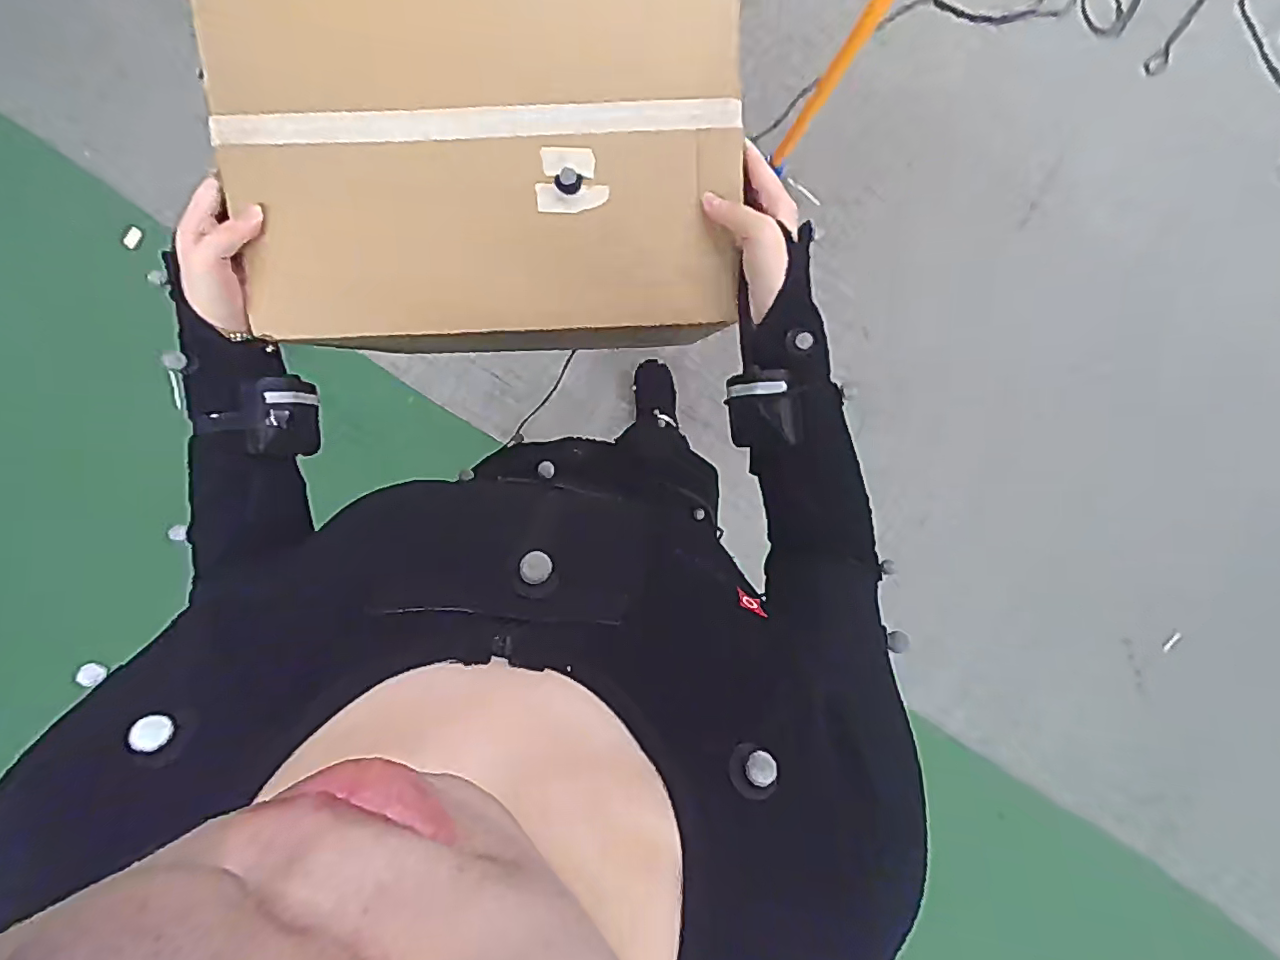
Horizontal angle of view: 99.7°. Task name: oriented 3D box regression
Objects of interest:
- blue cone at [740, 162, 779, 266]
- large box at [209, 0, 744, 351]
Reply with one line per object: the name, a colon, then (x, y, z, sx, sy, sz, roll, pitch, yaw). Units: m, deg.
blue cone: (0.251, -0.646, 1.249, 0.193, 0.380, 0.192, 43, 95, -7)
large box: (-0.128, -0.314, 0.573, 0.408, 0.320, 0.320, -4, 102, -3)
